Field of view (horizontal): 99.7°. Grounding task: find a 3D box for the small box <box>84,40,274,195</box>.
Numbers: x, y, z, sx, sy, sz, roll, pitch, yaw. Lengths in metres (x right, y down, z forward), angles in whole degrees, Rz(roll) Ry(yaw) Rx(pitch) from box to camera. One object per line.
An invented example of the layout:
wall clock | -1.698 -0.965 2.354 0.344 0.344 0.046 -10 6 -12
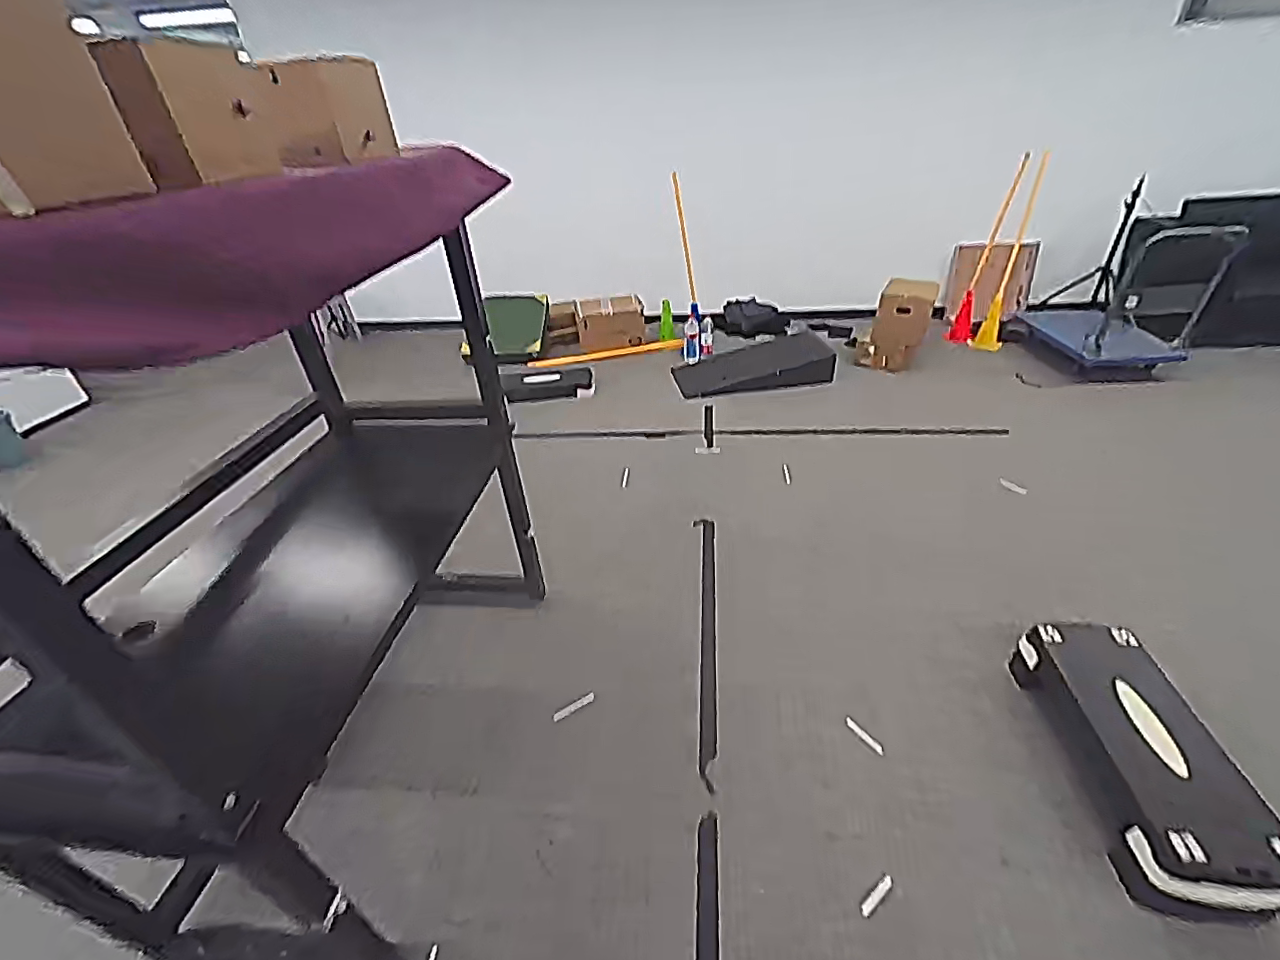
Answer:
small box | -0.678 -0.516 0.785 0.168 0.176 0.179 0 34 8

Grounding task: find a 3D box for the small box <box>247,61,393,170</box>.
small box | -0.632 -0.733 1.098 0.168 0.176 0.179 5 35 15
